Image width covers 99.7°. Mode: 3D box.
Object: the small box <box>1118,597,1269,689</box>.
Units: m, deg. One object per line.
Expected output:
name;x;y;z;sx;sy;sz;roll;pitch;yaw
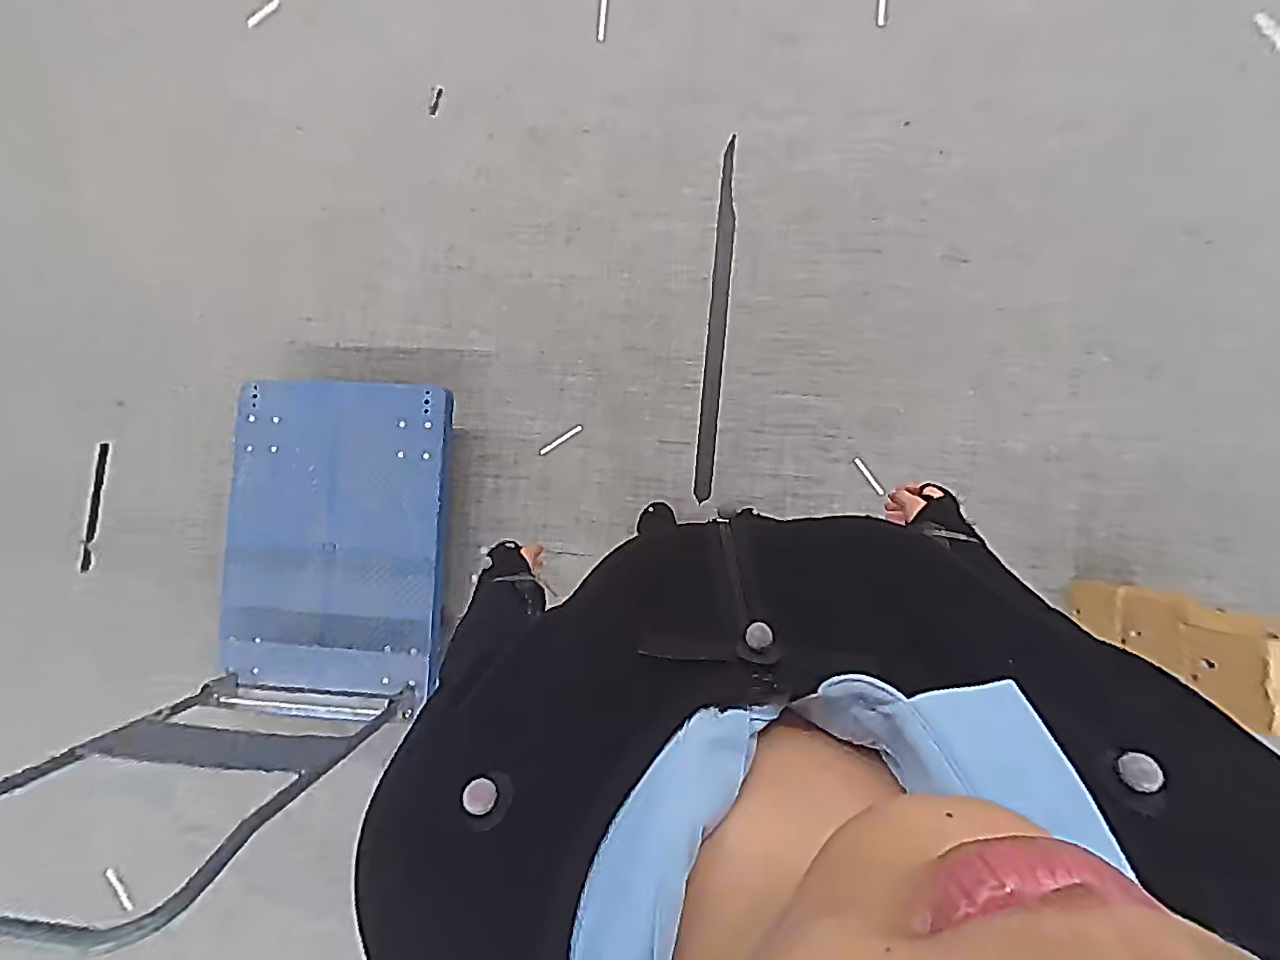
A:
small box;1.183;0.353;1.152;0.179;0.176;0.168;8;87;6

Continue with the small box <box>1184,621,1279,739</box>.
small box;1.168;0.358;0.990;0.179;0.176;0.168;-3;87;5
